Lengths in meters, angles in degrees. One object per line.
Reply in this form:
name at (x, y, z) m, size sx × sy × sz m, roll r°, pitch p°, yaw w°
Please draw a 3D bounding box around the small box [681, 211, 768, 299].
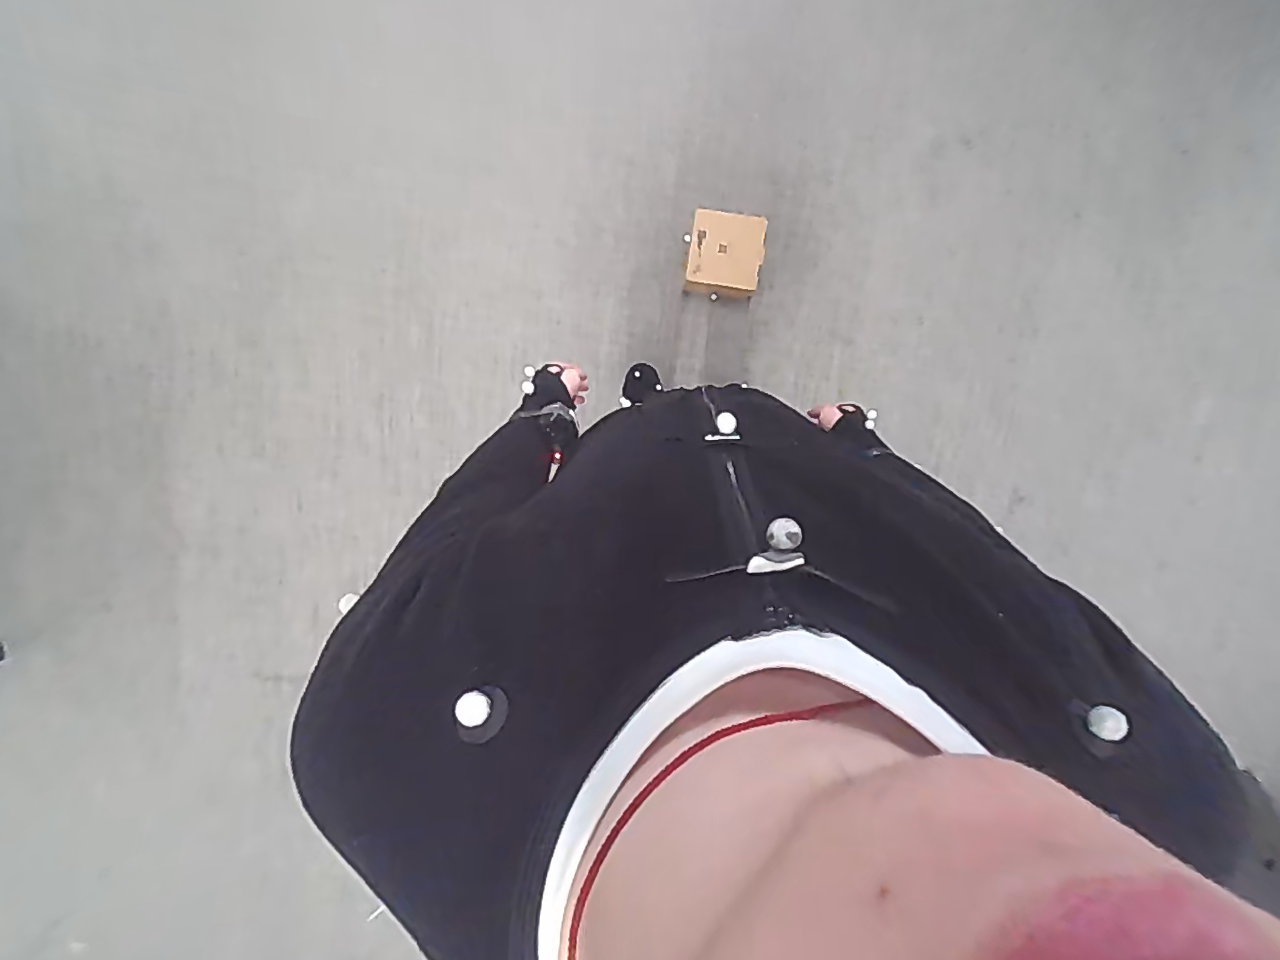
small box at (0.209, -0.565, 1.378) m, size 0.179 × 0.176 × 0.168 m, roll 8°, pitch 101°, yaw -2°
